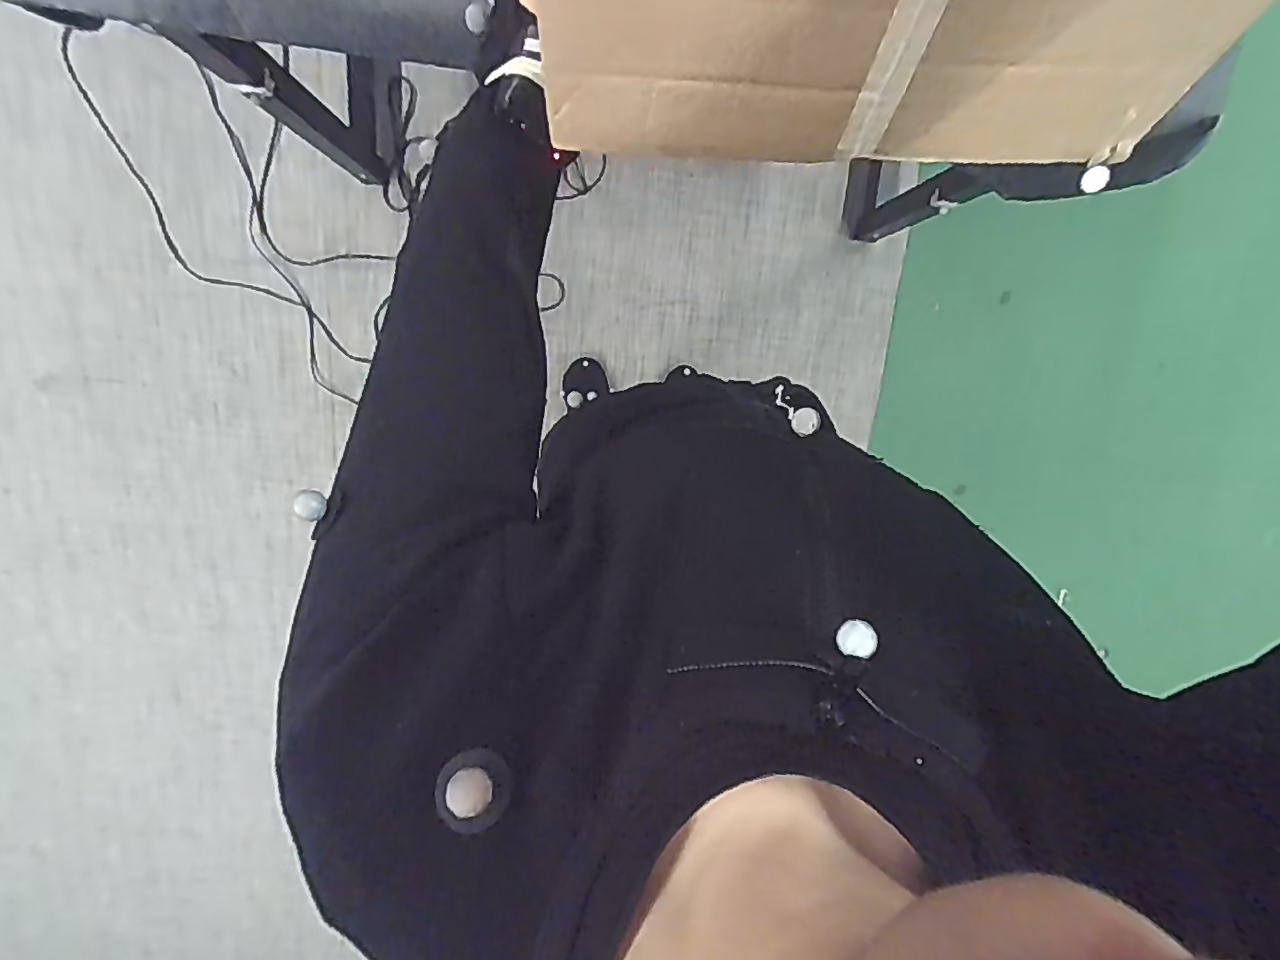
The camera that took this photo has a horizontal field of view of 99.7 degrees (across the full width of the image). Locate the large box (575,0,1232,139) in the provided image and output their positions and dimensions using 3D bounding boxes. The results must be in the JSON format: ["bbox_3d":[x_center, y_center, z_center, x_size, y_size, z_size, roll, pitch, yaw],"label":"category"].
[{"bbox_3d":[0.122,-0.406,0.171,0.320,0.408,0.320,-1,69,-3],"label":"large box"}]
